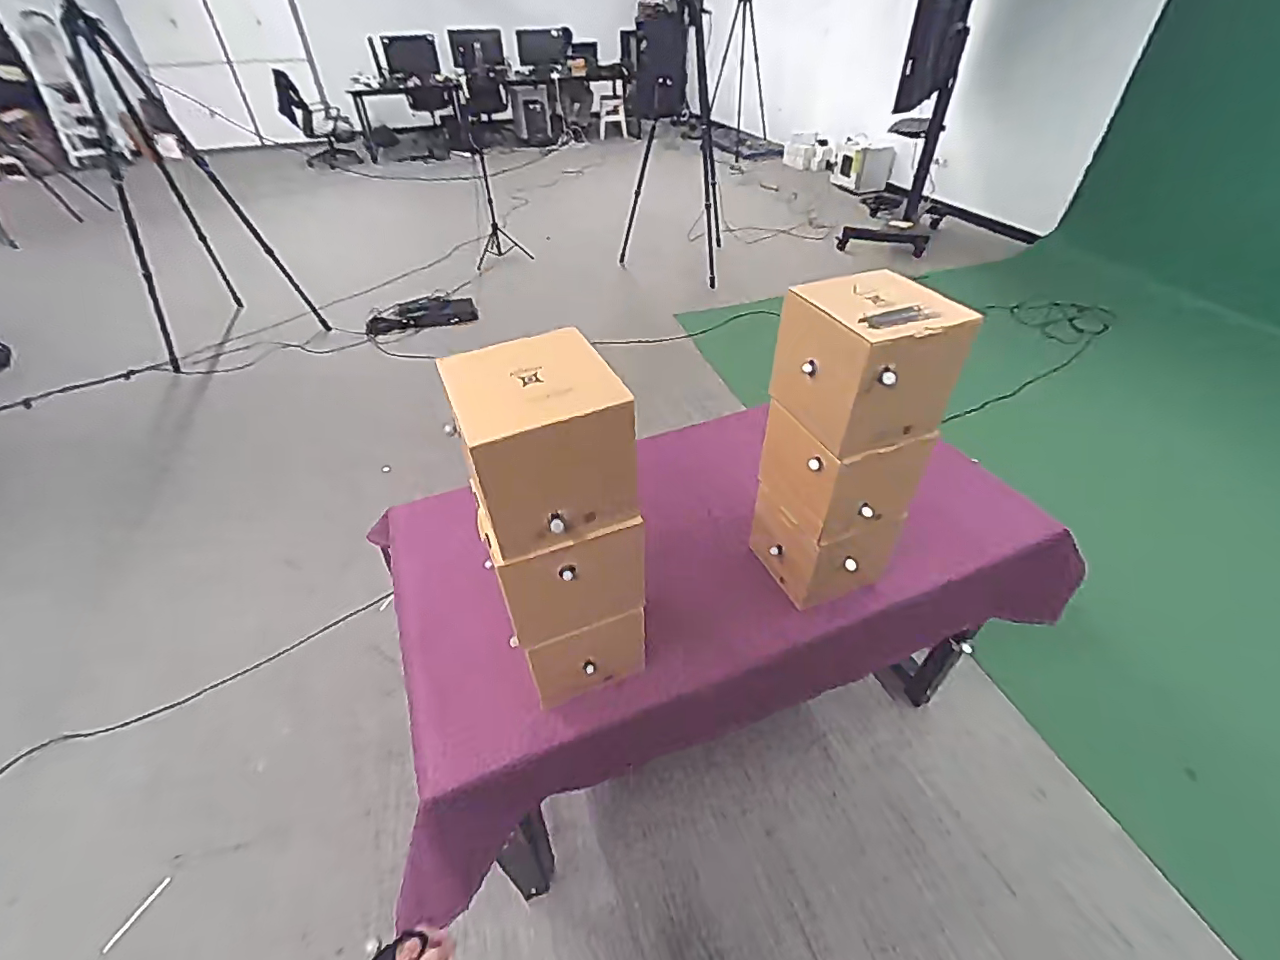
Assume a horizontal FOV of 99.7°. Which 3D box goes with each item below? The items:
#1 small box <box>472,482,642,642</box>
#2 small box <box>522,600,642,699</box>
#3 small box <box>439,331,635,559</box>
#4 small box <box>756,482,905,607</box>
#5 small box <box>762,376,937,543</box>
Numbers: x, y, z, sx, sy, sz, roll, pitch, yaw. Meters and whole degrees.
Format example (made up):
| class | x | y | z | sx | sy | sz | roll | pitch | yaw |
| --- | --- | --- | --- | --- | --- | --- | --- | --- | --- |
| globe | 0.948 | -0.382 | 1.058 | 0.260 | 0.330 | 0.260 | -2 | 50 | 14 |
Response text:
| class | x | y | z | sx | sy | sz | roll | pitch | yaw |
| --- | --- | --- | --- | --- | --- | --- | --- | --- | --- |
| small box | -0.105 | 0.084 | 0.716 | 0.179 | 0.176 | 0.168 | -16 | 44 | -16 |
| small box | -0.101 | 0.207 | 0.826 | 0.168 | 0.176 | 0.179 | -16 | 43 | -16 |
| small box | -0.113 | -0.043 | 0.614 | 0.168 | 0.176 | 0.179 | -18 | 45 | -17 |
| small box | 0.316 | 0.092 | 0.940 | 0.179 | 0.176 | 0.168 | -18 | 44 | -16 |
| small box | 0.307 | -0.033 | 0.836 | 0.168 | 0.176 | 0.179 | -16 | 44 | -15 |
